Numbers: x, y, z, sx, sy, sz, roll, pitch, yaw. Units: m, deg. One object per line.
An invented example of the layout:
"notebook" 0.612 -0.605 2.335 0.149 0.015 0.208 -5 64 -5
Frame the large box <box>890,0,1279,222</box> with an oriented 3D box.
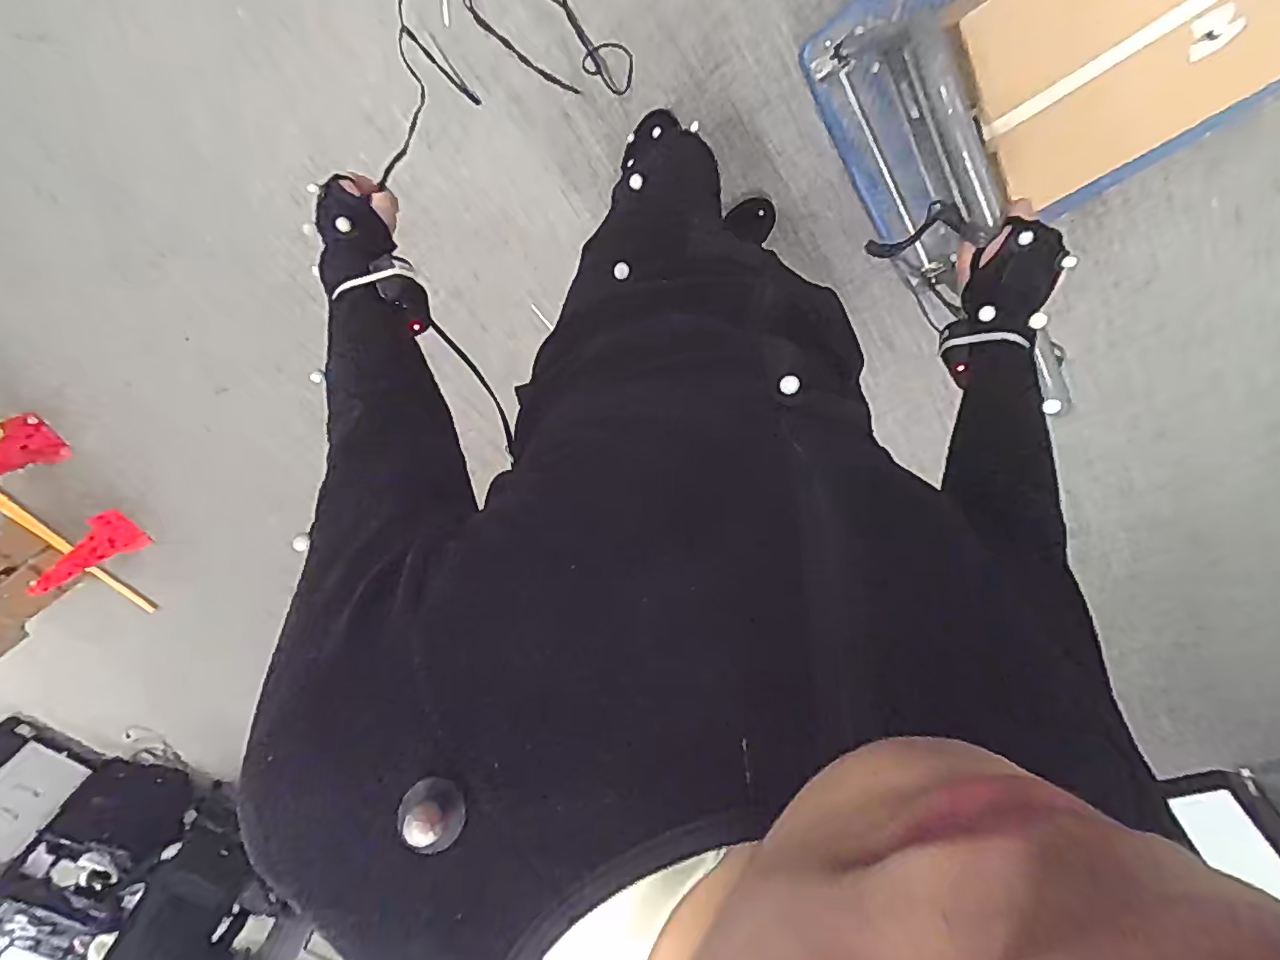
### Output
"large box" 0.698 -0.697 0.881 0.408 0.320 0.320 -27 117 23
